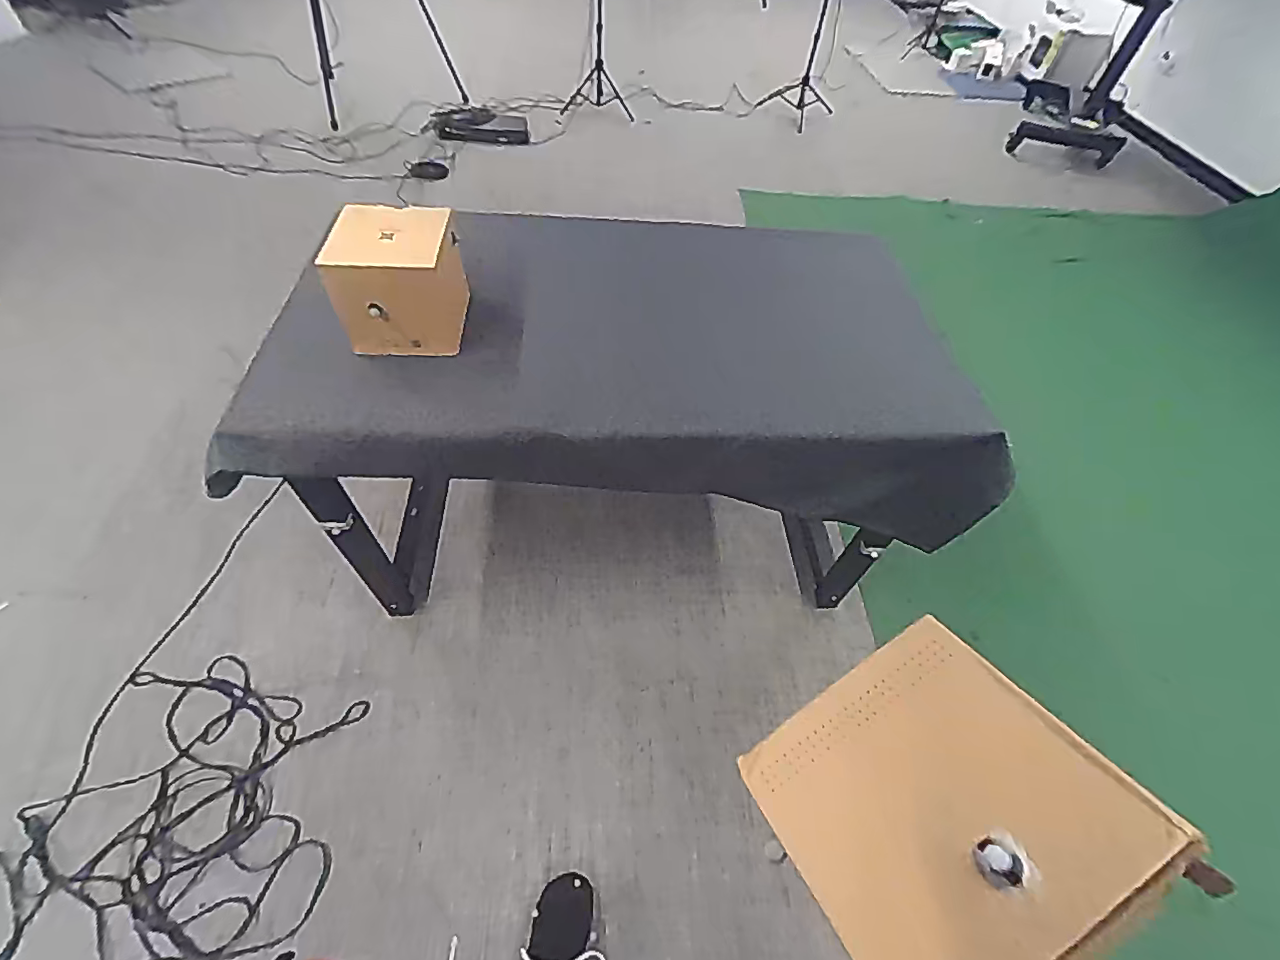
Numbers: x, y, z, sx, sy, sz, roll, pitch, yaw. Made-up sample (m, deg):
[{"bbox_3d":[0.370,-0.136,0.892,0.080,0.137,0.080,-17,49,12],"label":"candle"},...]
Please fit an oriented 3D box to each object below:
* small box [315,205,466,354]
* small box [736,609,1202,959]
[{"bbox_3d":[-0.387,-0.320,0.876,0.168,0.176,0.179,-1,52,-6],"label":"small box"},{"bbox_3d":[0.196,0.222,0.360,0.179,0.168,0.176,-35,36,-4],"label":"small box"}]
